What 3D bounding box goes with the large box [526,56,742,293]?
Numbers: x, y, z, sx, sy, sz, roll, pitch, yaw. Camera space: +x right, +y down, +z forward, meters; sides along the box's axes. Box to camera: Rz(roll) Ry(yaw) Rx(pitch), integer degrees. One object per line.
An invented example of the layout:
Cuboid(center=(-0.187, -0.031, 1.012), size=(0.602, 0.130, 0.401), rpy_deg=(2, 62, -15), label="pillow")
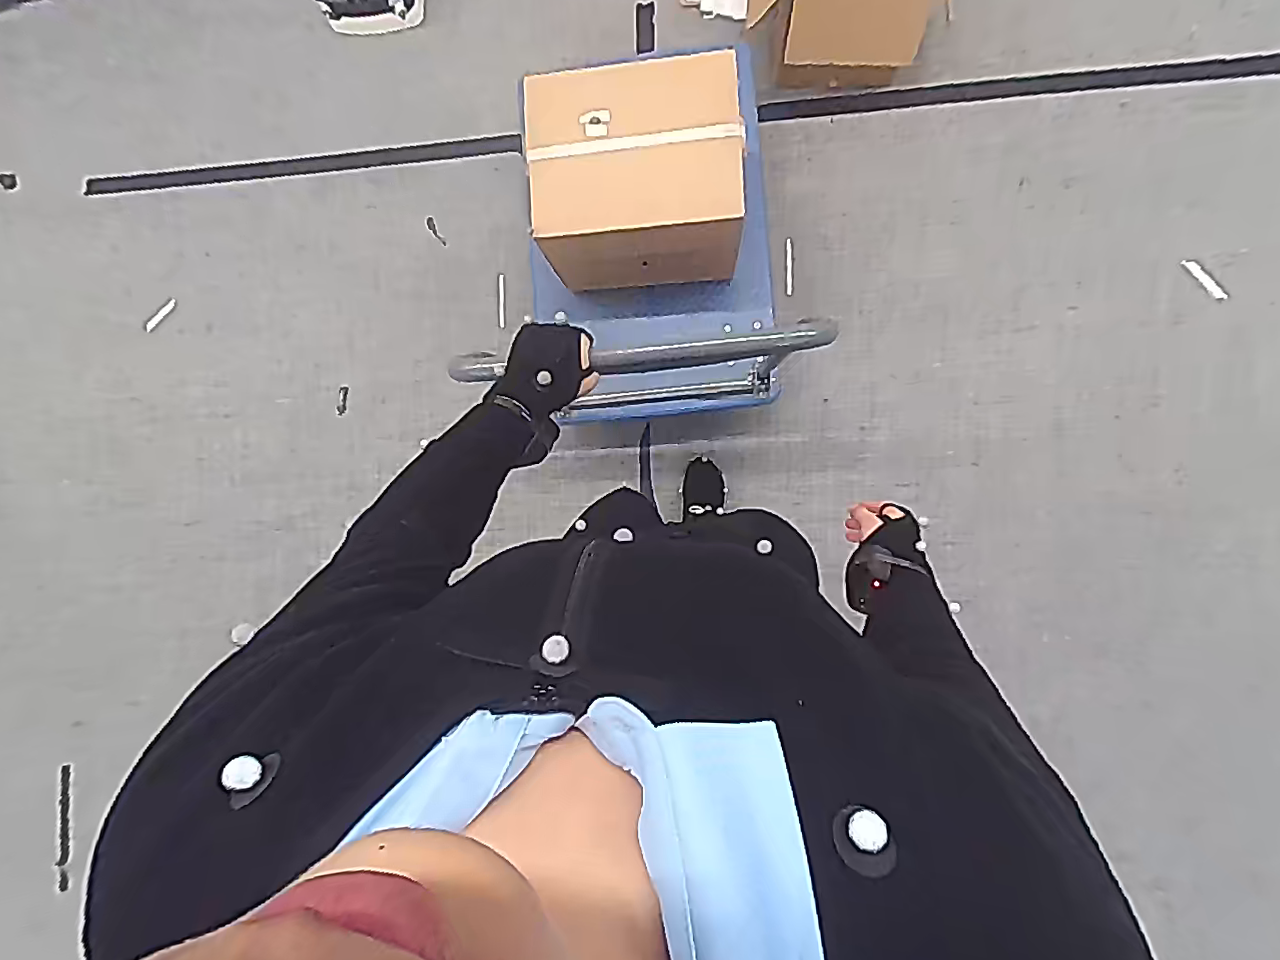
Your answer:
Cuboid(center=(0.002, -0.625, 1.177), size=(0.408, 0.320, 0.320), rpy_deg=(-3, 89, 7), label="large box")
